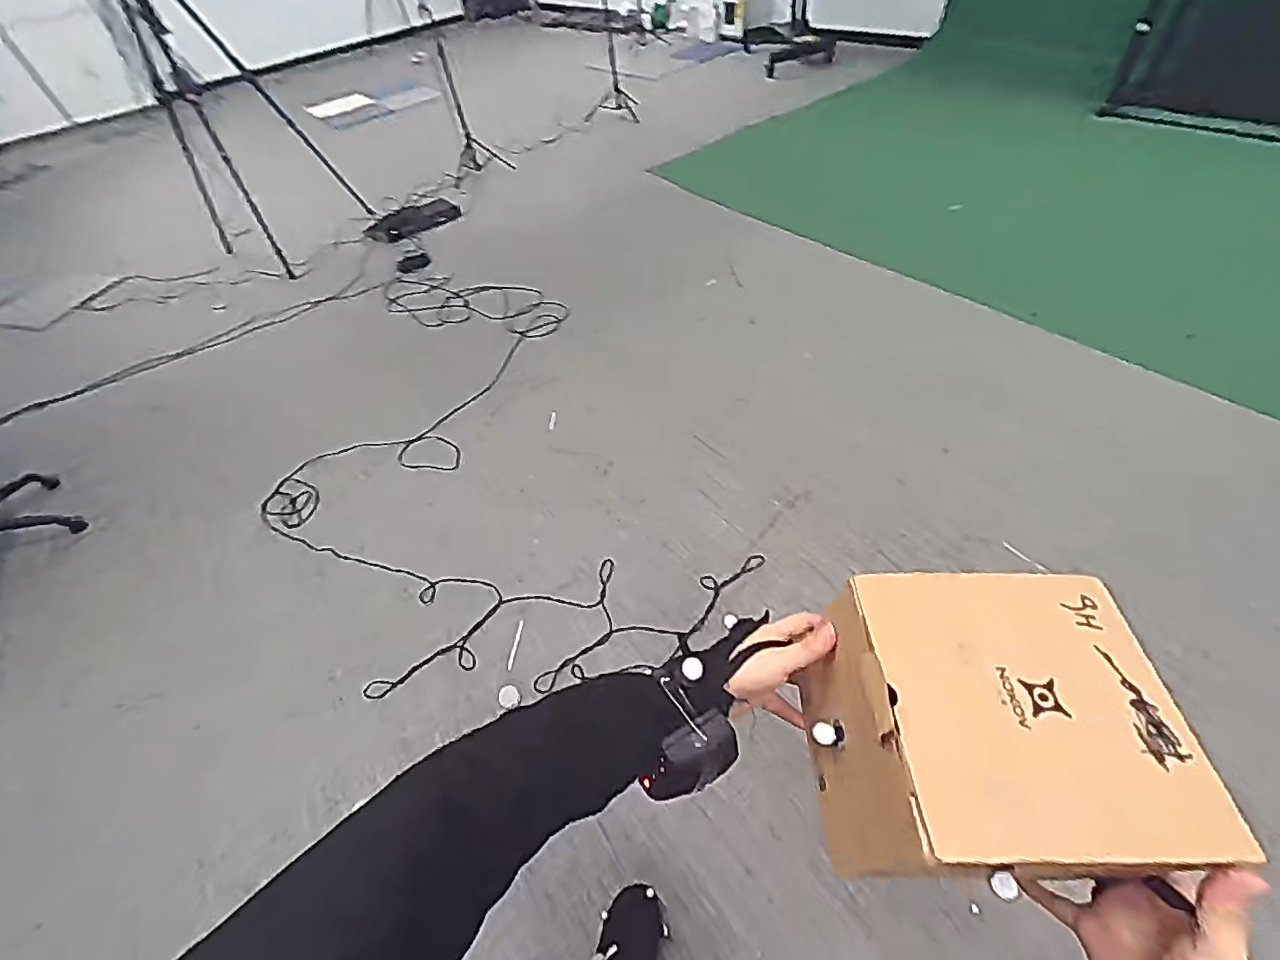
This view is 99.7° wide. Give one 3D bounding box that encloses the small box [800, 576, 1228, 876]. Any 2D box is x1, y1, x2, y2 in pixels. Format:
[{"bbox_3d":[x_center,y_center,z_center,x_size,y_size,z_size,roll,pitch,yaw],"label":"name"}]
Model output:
[{"bbox_3d":[0.226,0.184,0.397,0.179,0.176,0.168,-1,51,0],"label":"small box"}]
